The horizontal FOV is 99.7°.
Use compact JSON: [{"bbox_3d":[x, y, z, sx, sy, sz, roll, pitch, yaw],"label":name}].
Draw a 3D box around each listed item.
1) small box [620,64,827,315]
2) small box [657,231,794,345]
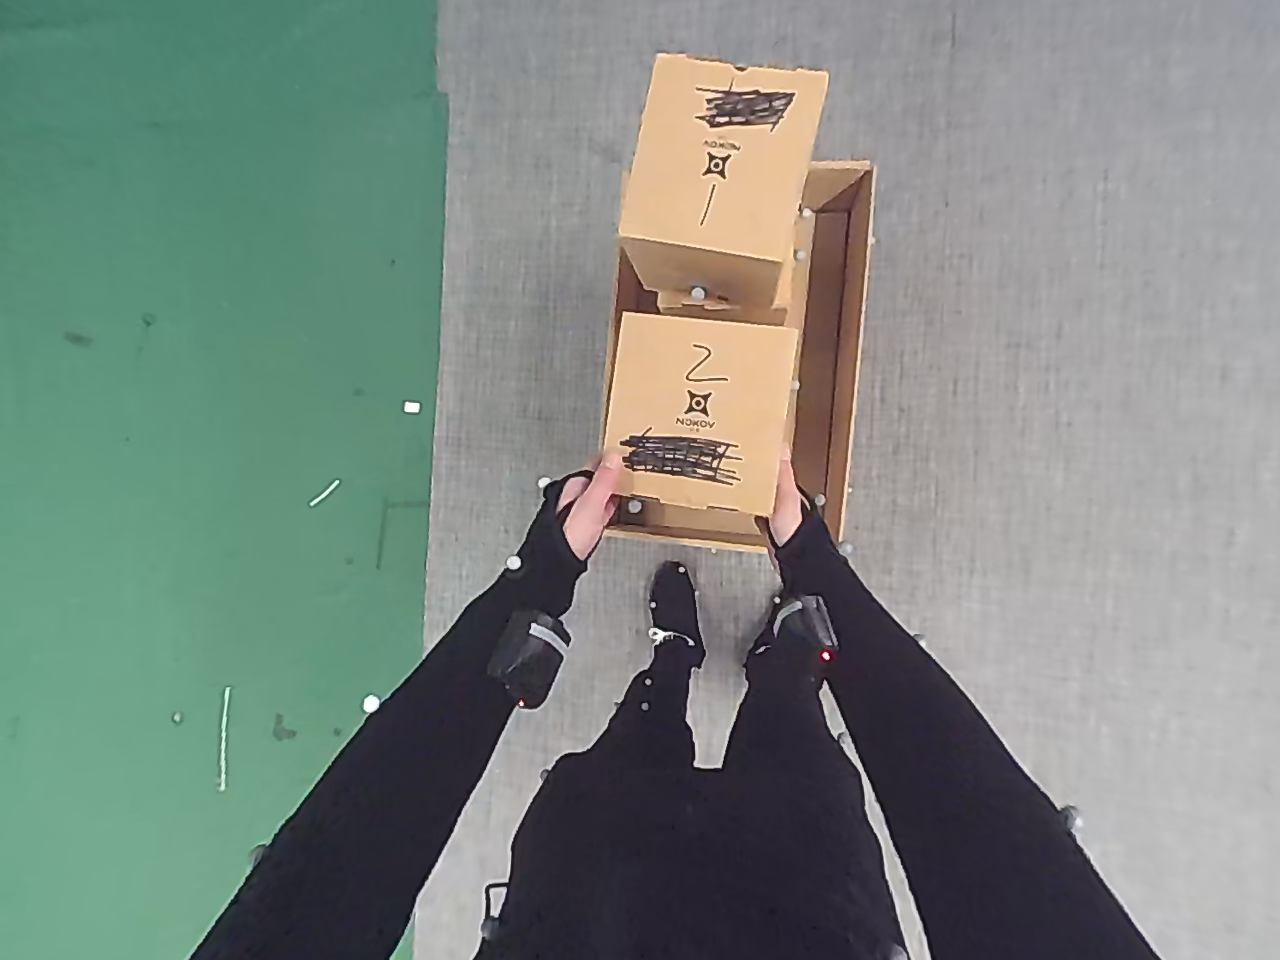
[{"bbox_3d":[0.089,-0.302,0.596,0.168,0.176,0.179,14,94,9],"label":"small box"},{"bbox_3d":[0.120,-0.299,0.757,0.168,0.176,0.179,4,92,9],"label":"small box"}]
